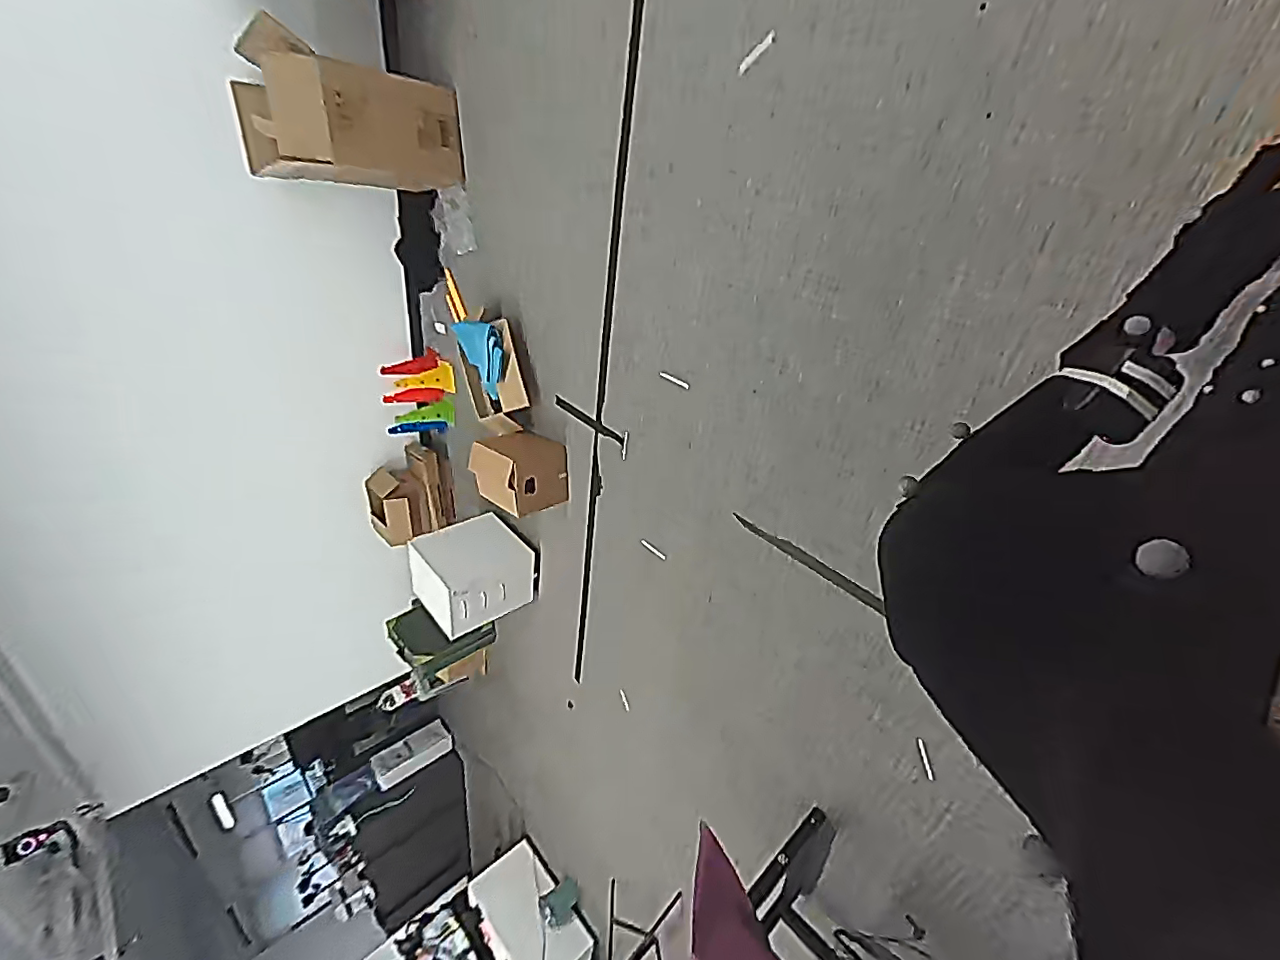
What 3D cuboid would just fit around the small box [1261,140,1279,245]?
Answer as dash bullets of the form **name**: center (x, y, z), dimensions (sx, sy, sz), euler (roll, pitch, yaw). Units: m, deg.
- **small box**: center (0.573, -0.270, 0.363), dimensions (0.168, 0.176, 0.179), euler (13, 88, 37)
